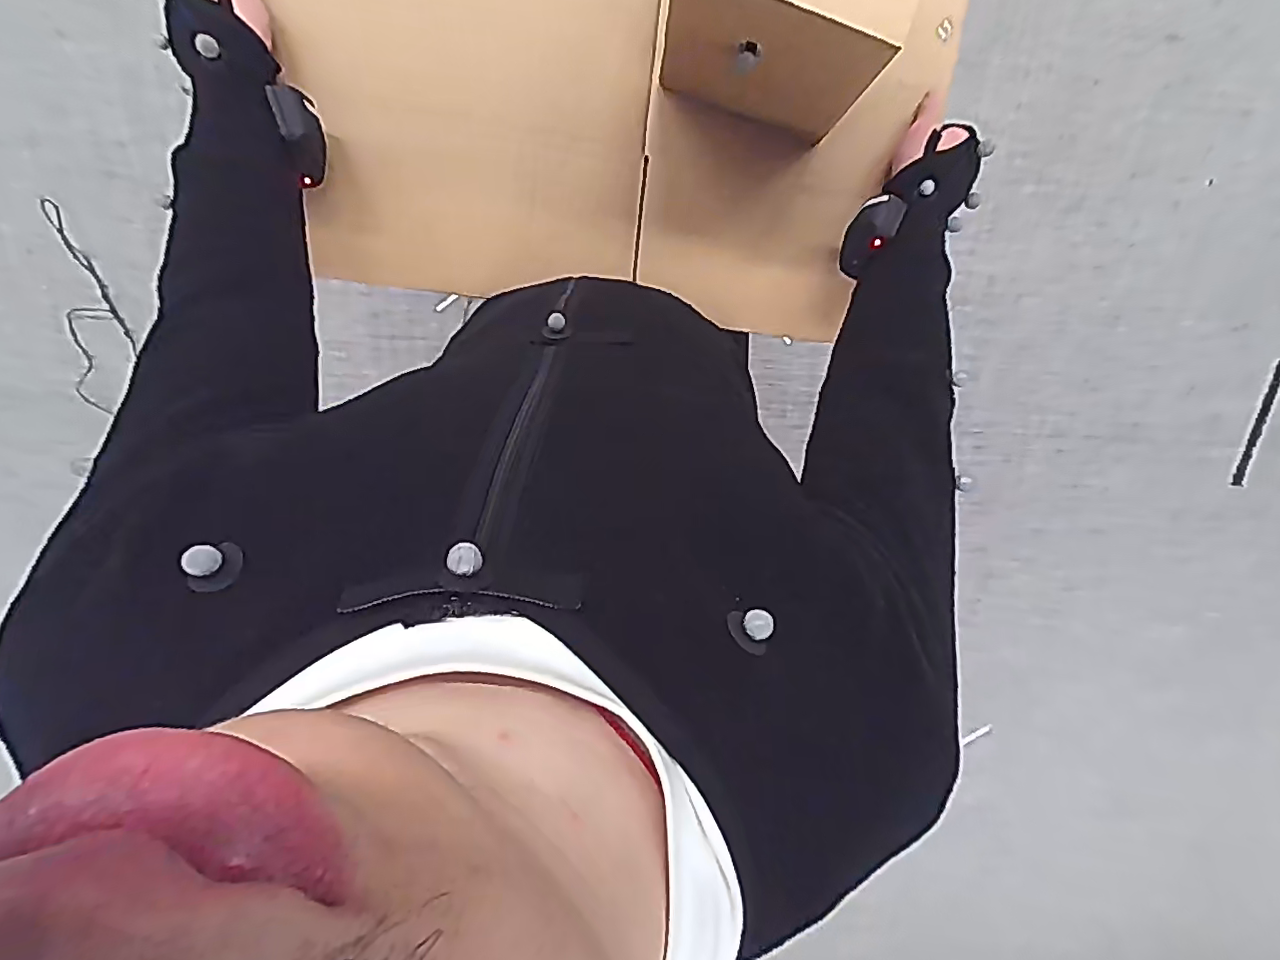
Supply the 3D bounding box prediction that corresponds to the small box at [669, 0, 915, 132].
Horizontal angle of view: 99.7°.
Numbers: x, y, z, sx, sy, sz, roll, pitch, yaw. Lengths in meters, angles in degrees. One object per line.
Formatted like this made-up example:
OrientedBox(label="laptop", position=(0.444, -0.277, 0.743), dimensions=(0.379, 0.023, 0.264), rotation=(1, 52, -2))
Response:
OrientedBox(label="small box", position=(0.130, -0.431, 0.454), dimensions=(0.179, 0.176, 0.168), rotation=(17, 101, -4))
